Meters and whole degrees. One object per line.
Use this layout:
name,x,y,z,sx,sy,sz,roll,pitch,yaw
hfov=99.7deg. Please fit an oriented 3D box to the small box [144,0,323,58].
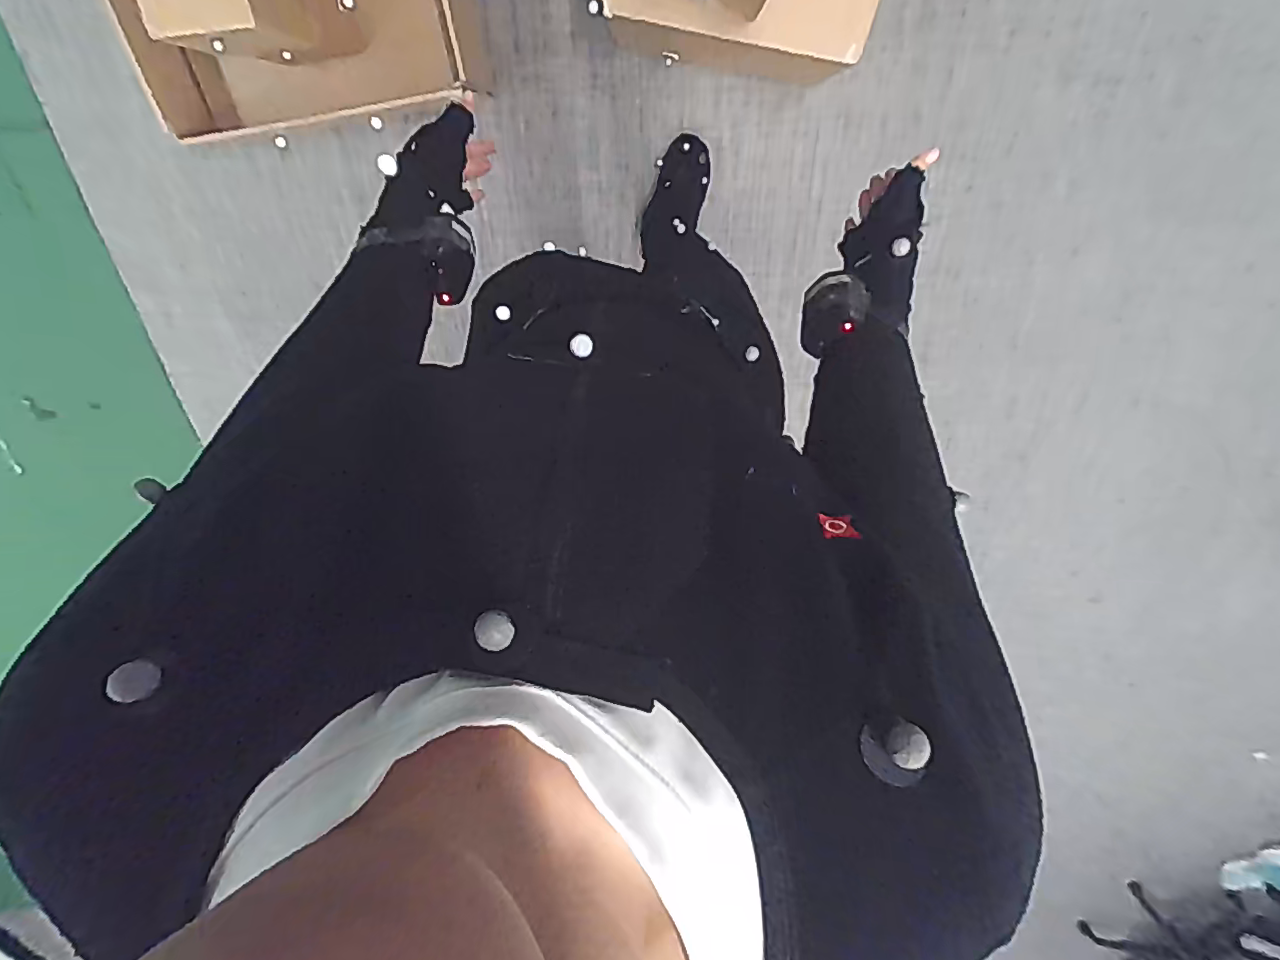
small box,-0.646,-0.782,0.845,0.179,0.176,0.168,-2,120,5

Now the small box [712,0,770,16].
small box,0.125,-0.736,0.688,0.179,0.176,0.168,24,120,-10

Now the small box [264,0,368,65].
small box,-0.637,-0.875,0.981,0.179,0.176,0.168,-4,120,6
